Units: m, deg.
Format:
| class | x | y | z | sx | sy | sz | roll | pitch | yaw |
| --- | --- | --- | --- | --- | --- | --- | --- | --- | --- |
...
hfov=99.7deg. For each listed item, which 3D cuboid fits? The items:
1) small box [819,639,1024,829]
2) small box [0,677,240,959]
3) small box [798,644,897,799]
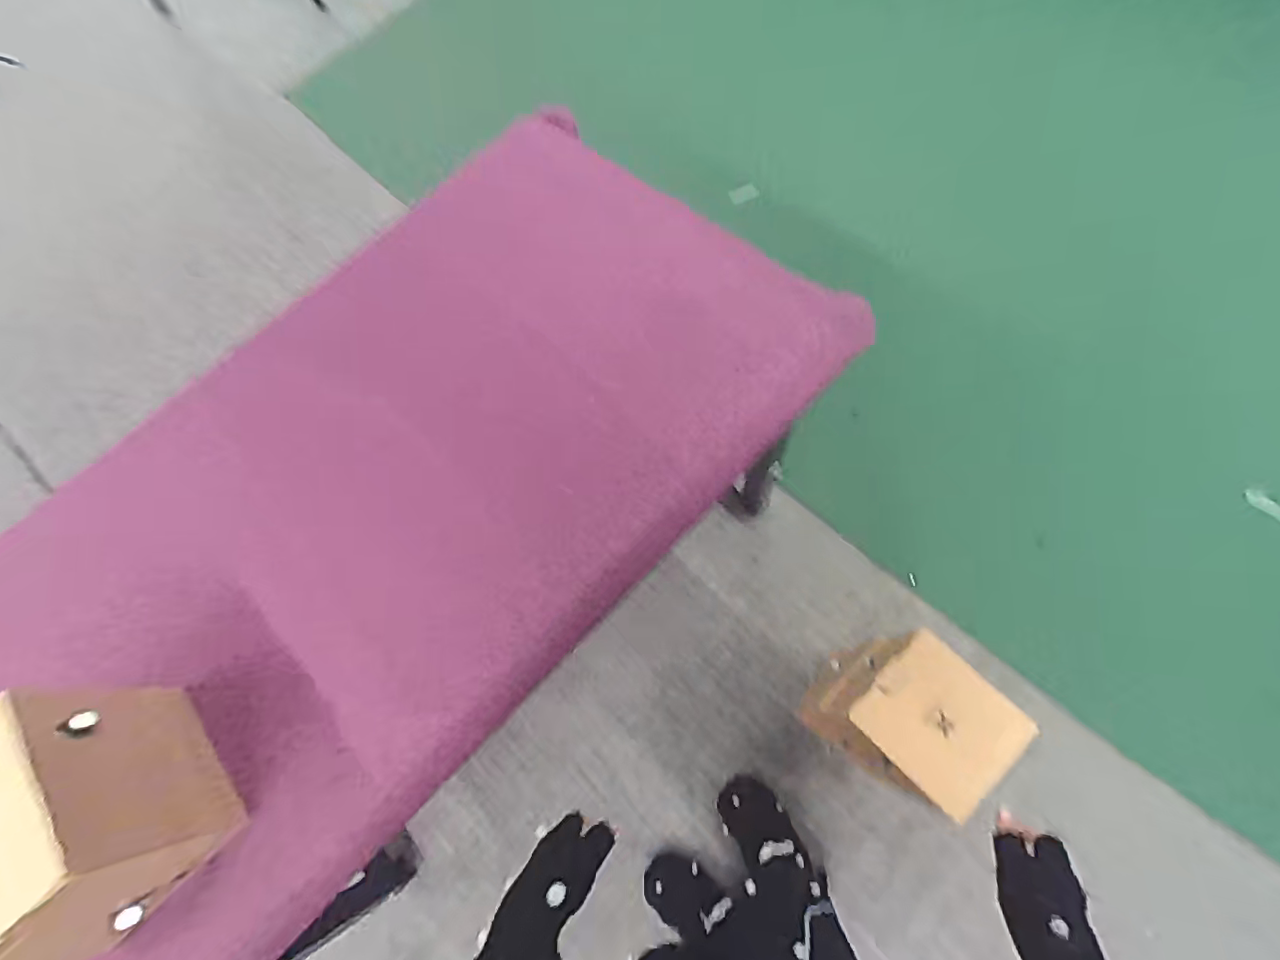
| class | x | y | z | sx | sy | sz | roll | pitch | yaw |
| --- | --- | --- | --- | --- | --- | --- | --- | --- | --- |
| small box | 0.393 | 0.356 | 0.791 | 0.168 | 0.176 | 0.179 | -42 | 70 | -9 |
| small box | -0.520 | 0.303 | 0.484 | 0.168 | 0.176 | 0.179 | -41 | 71 | -9 |
| small box | 0.403 | 0.410 | 0.945 | 0.168 | 0.176 | 0.179 | -41 | 70 | -9 |
